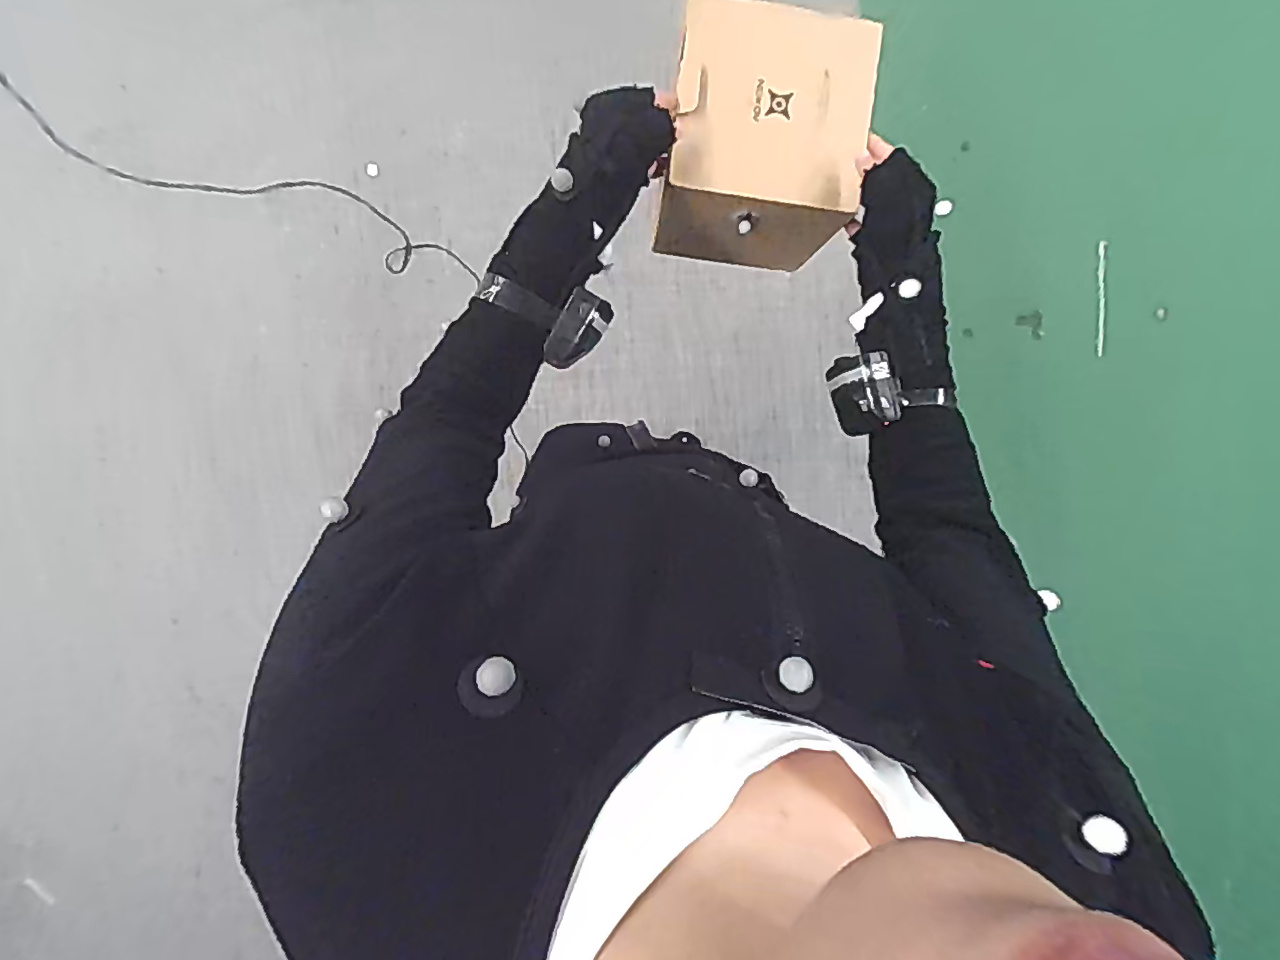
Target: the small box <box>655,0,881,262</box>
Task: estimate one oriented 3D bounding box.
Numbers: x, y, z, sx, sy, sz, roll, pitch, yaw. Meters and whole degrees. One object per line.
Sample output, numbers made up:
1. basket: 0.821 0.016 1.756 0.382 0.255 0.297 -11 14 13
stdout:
1. small box: 0.113 -0.338 0.552 0.179 0.176 0.168 5 94 -5
